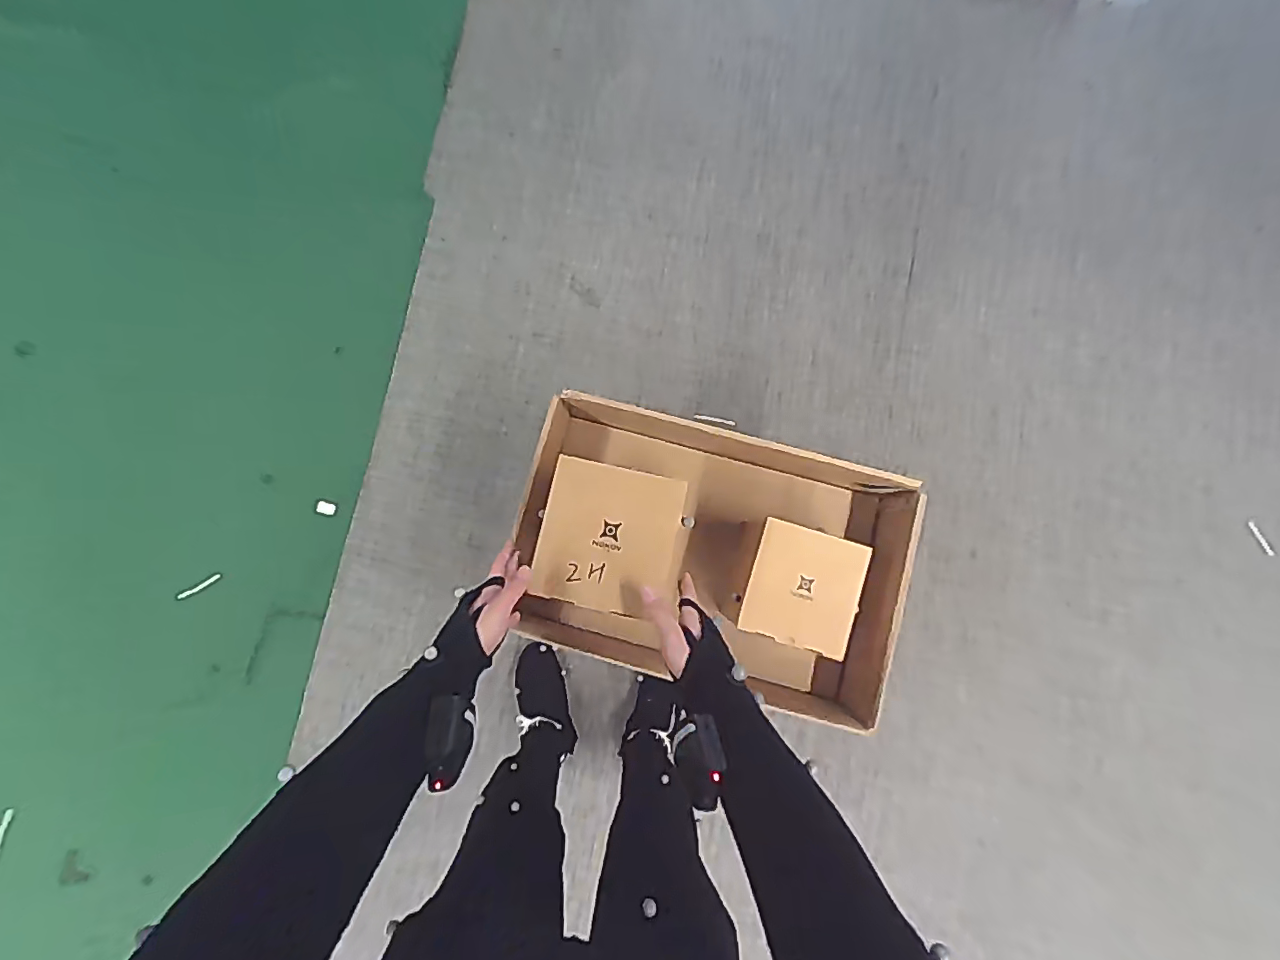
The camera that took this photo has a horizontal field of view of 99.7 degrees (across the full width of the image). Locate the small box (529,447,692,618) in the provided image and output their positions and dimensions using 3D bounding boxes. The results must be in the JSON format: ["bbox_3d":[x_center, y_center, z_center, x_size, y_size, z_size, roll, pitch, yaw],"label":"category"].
[{"bbox_3d":[-0.034,0.071,0.729,0.168,0.176,0.179,13,84,3],"label":"small box"}]
